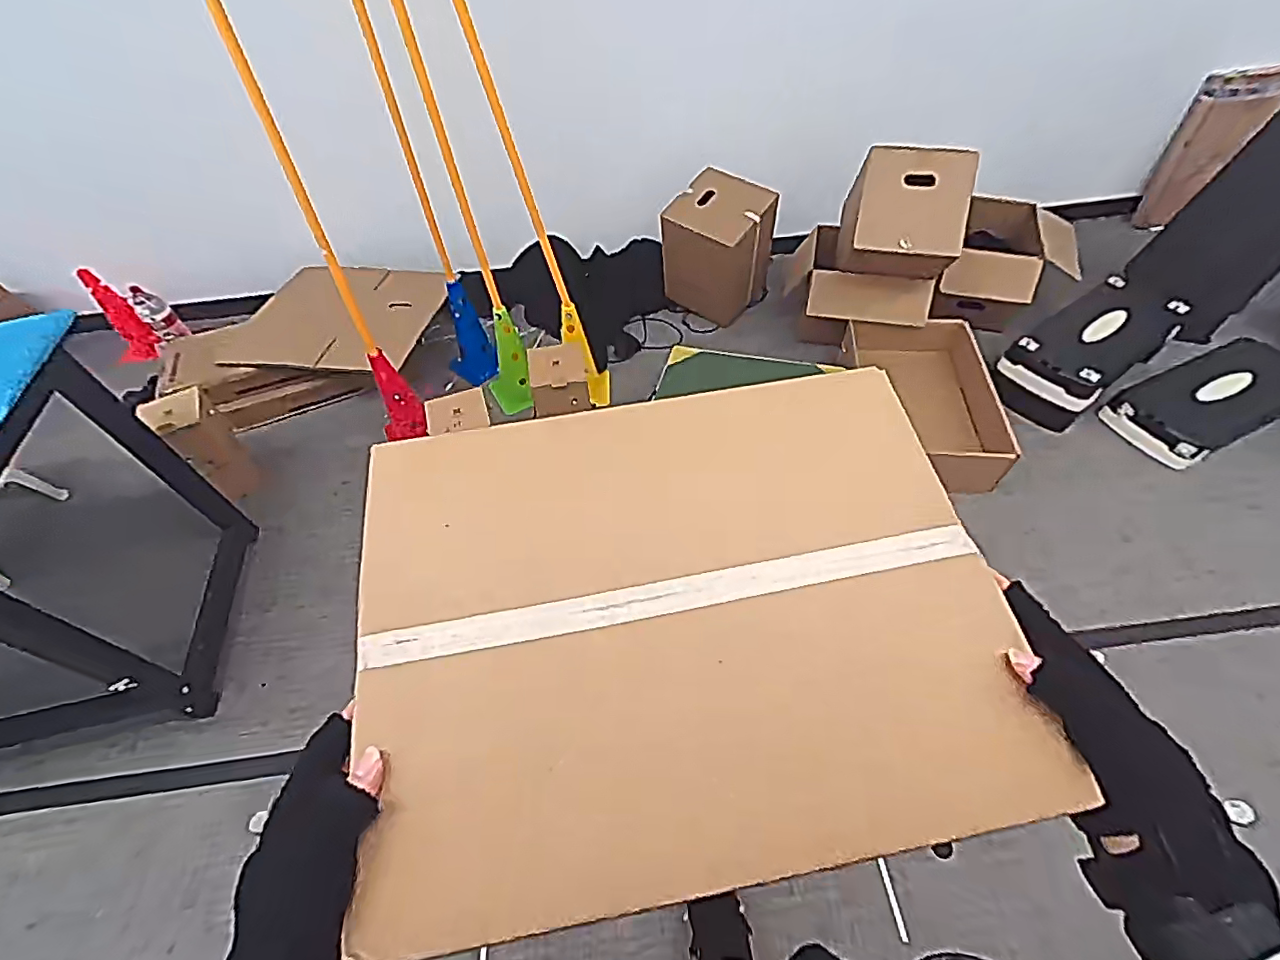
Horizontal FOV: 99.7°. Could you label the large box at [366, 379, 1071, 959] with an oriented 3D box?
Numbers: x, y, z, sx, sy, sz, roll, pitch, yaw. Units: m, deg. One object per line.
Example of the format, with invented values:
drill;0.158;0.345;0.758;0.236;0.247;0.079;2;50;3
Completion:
large box;0.029;0.154;0.491;0.408;0.320;0.320;-10;61;-4
